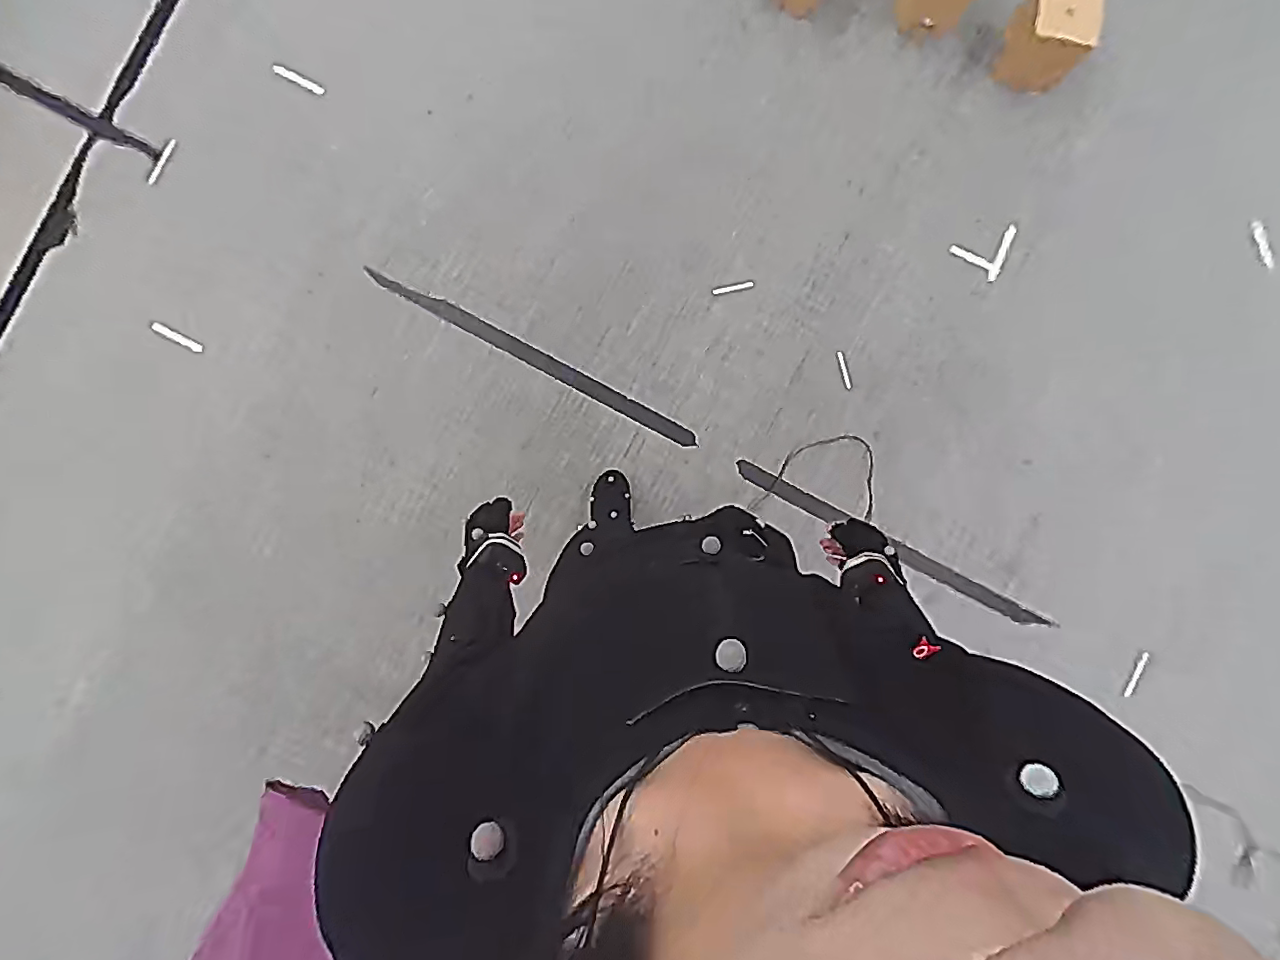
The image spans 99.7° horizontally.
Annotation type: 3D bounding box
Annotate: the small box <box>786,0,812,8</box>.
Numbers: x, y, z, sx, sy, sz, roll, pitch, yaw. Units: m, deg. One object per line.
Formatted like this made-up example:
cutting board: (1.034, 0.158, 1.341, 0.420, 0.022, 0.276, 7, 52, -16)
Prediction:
small box: (0.460, -1.470, 1.492, 0.179, 0.176, 0.168, 39, 88, 0)

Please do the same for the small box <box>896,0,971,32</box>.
small box: (0.835, -1.403, 1.497, 0.168, 0.176, 0.179, 7, 89, -1)

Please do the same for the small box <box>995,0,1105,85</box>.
small box: (1.136, -1.245, 1.503, 0.179, 0.176, 0.168, 8, 88, 0)
